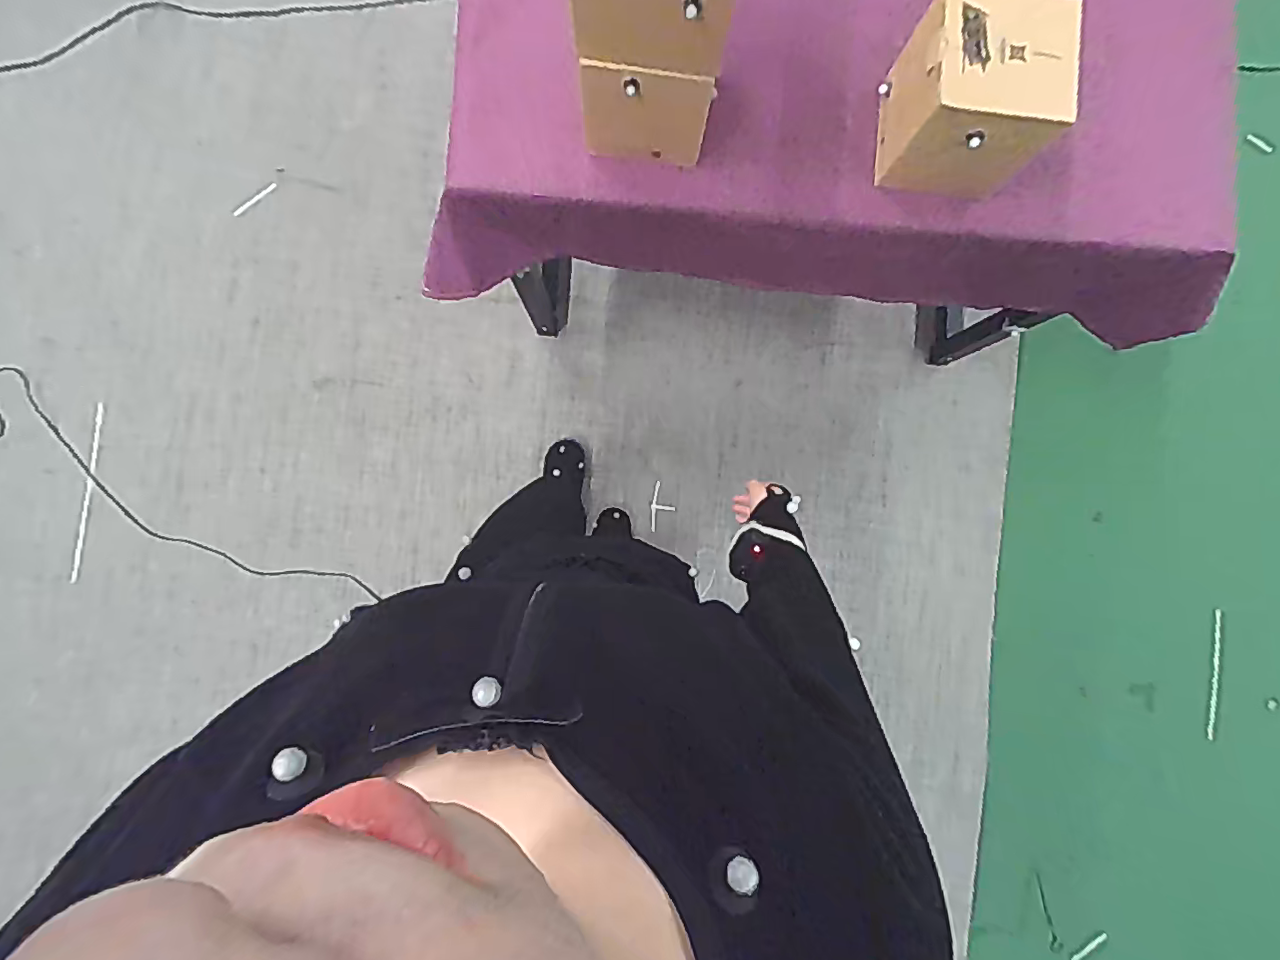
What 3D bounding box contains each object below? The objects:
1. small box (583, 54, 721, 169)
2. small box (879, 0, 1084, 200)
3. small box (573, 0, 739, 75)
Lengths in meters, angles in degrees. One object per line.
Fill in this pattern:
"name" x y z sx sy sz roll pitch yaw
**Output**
"small box" 0.020 -0.563 0.728 0.168 0.176 0.179 7 86 -1
"small box" 0.453 -0.514 0.742 0.179 0.176 0.168 6 87 -2
"small box" 0.026 -0.571 0.565 0.179 0.176 0.168 8 87 -1
